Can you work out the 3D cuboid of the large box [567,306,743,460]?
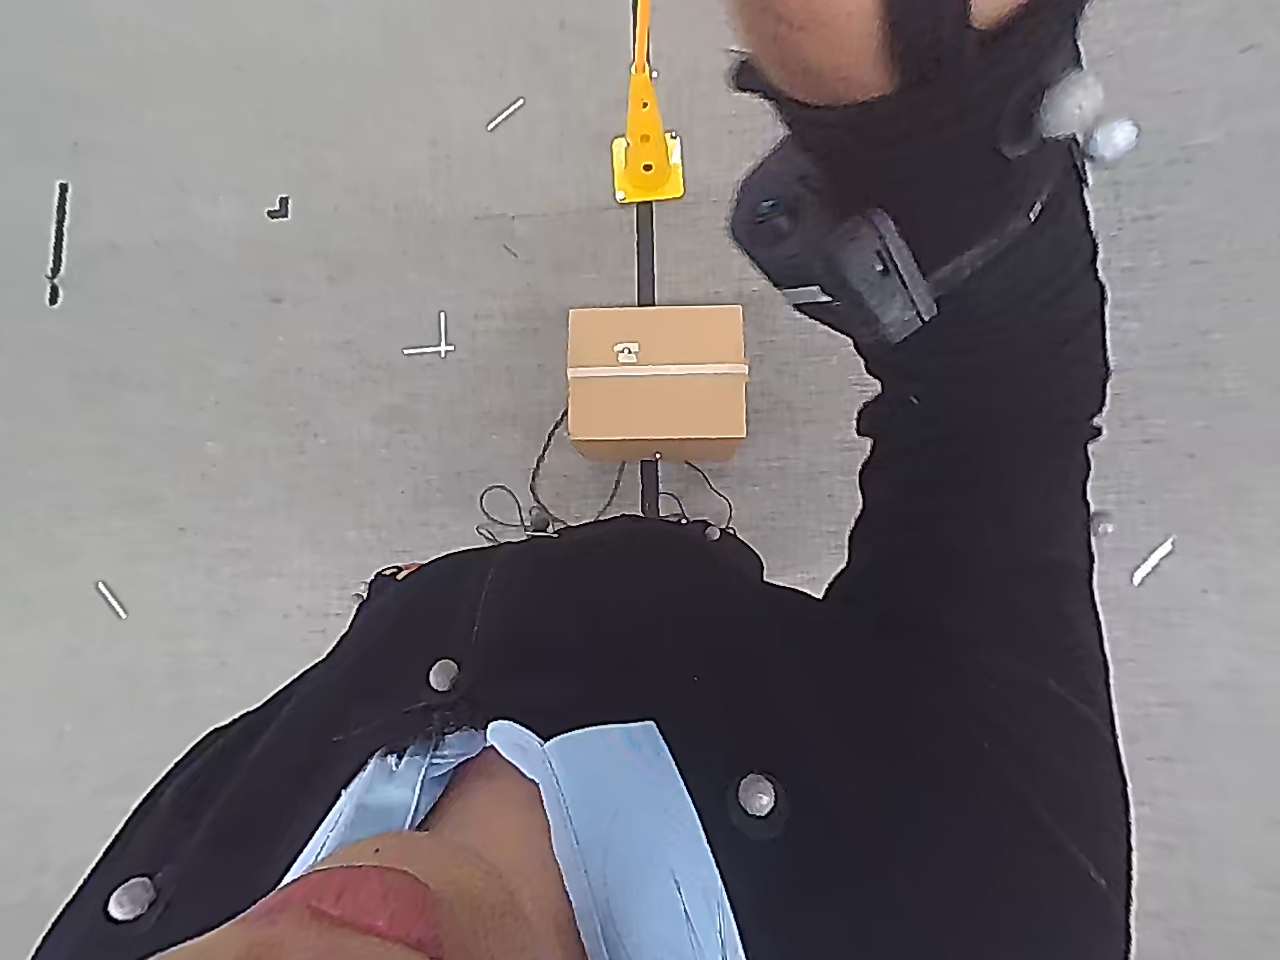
[{"bbox_3d":[0.039,-0.227,1.390,0.408,0.320,0.320,-1,82,3],"label":"large box"}]
